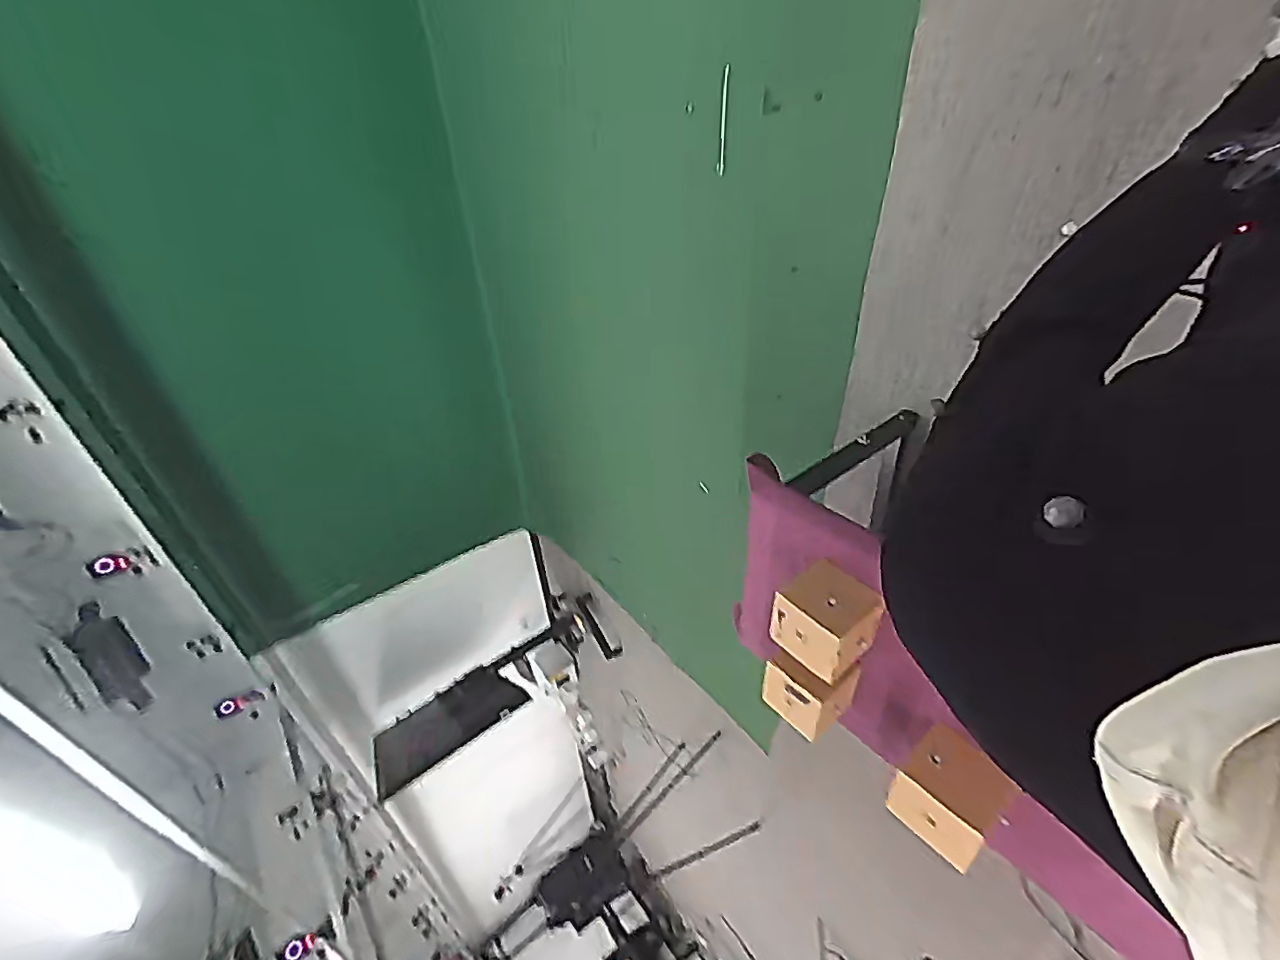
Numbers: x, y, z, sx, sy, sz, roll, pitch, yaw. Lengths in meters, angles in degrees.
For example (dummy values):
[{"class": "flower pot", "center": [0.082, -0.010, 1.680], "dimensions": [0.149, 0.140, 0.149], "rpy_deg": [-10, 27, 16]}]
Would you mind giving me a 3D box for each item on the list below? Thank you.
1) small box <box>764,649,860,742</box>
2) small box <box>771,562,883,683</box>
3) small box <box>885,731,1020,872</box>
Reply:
[{"class": "small box", "center": [0.444, 0.525, 1.401], "dimensions": [0.168, 0.176, 0.179], "rpy_deg": [35, 141, 41]}, {"class": "small box", "center": [0.431, 0.321, 1.254], "dimensions": [0.179, 0.176, 0.168], "rpy_deg": [35, 141, 40]}, {"class": "small box", "center": [0.667, 0.674, 1.161], "dimensions": [0.179, 0.176, 0.168], "rpy_deg": [32, 139, 43]}]
